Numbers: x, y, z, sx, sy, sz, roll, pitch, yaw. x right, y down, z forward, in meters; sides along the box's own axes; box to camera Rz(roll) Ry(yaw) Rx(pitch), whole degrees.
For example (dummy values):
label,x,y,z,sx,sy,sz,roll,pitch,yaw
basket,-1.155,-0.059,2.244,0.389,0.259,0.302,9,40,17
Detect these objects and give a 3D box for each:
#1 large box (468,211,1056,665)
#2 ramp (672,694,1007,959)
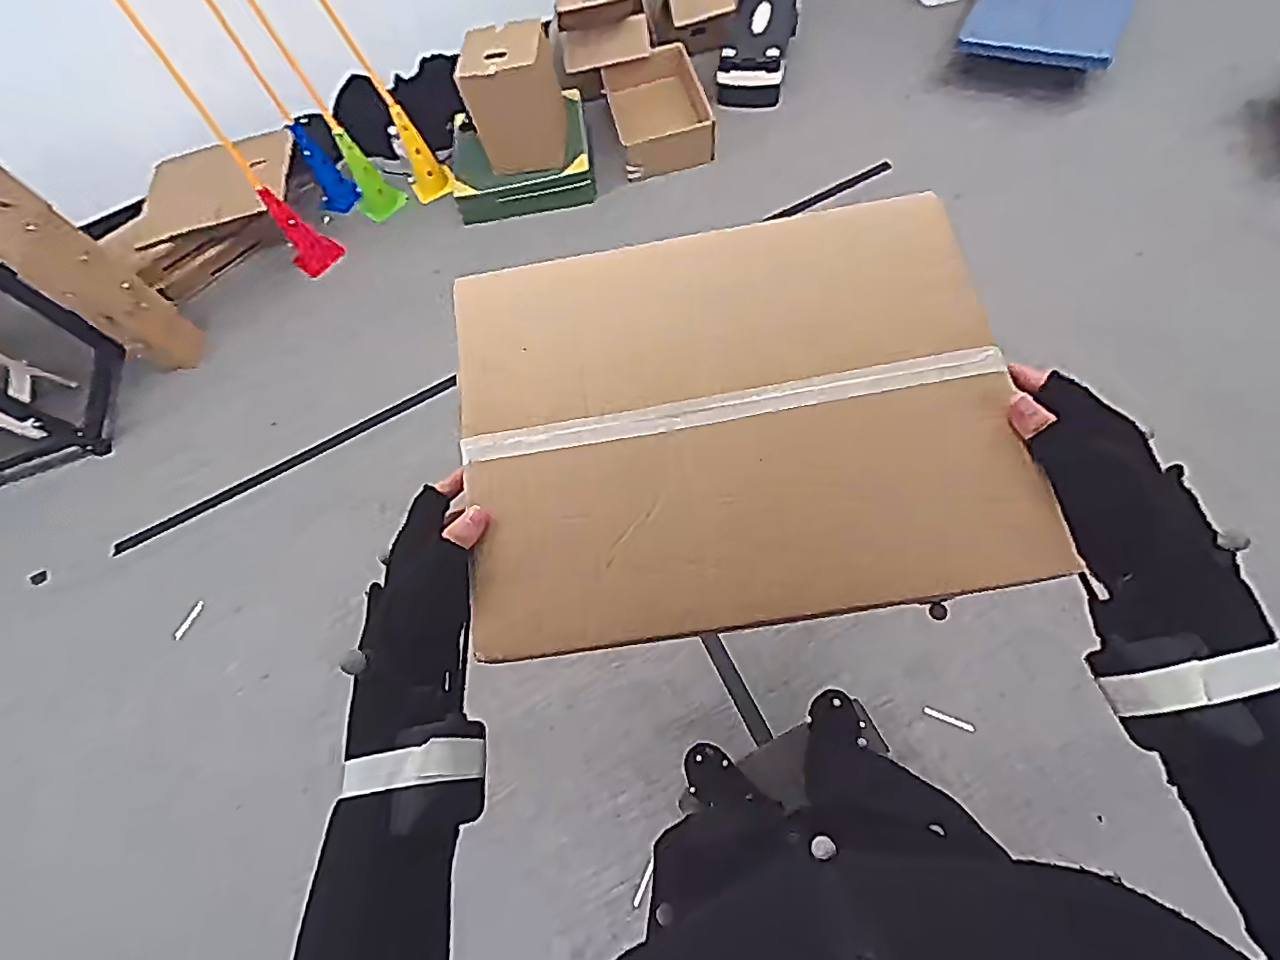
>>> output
label,x,y,z,sx,sy,sz,roll,pitch,yaw
large box,0.082,-0.009,0.557,0.408,0.320,0.320,-9,73,2
ramp,0.513,1.038,1.151,0.509,0.206,0.991,-28,65,-7
